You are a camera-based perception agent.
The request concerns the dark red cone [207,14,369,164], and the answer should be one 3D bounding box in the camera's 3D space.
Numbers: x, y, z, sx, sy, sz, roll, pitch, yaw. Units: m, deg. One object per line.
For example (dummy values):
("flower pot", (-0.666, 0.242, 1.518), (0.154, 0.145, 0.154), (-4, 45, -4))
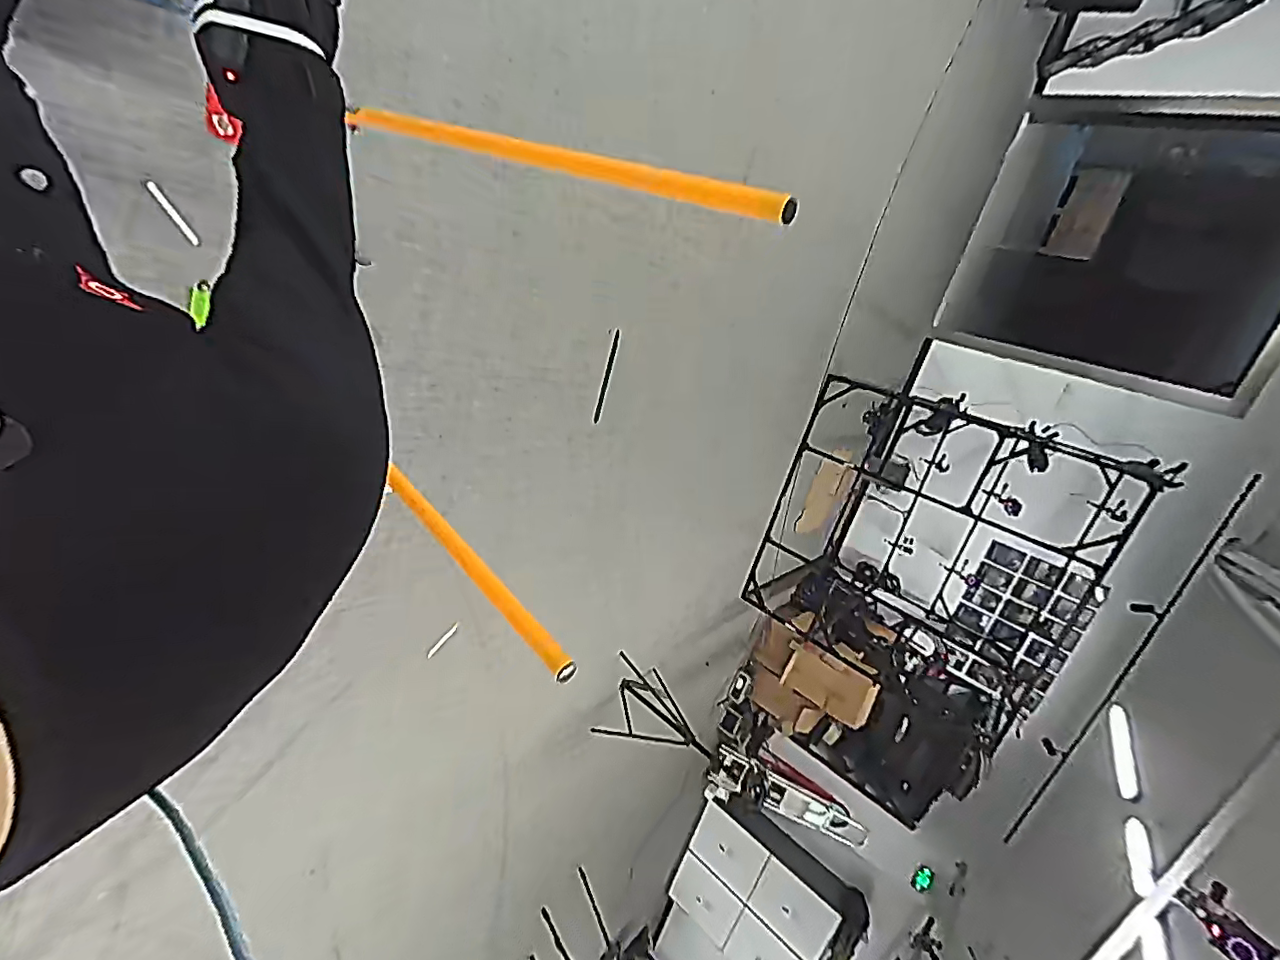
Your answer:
("dark red cone", (-0.617, -0.704, 0.996), (0.201, 0.394, 0.202), (-8, 121, -54))
